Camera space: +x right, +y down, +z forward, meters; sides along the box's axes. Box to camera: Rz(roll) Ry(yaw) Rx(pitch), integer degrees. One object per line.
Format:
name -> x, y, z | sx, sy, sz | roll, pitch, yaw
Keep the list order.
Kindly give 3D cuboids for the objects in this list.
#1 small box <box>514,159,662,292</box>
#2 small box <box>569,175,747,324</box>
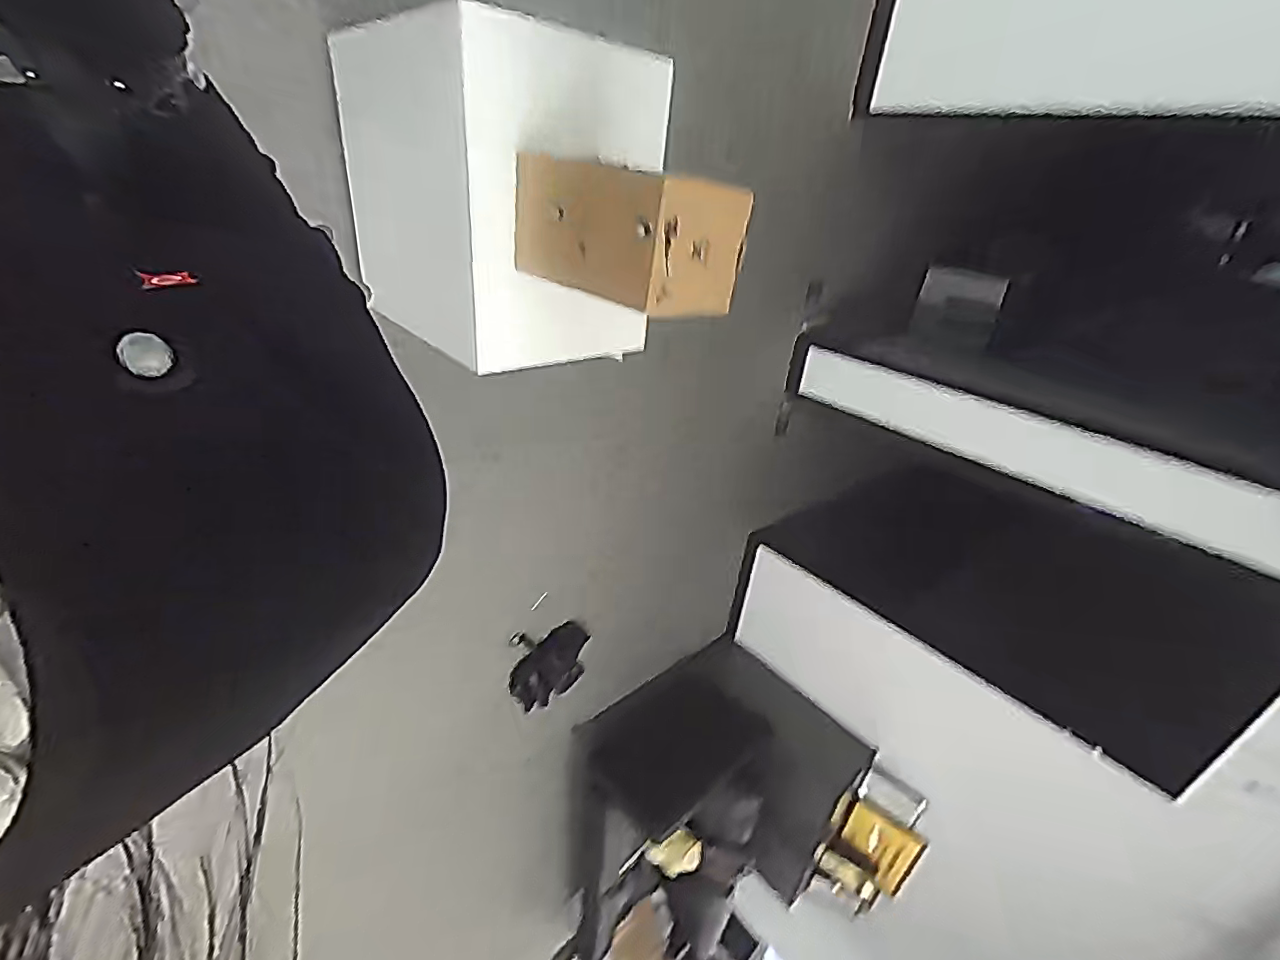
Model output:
small box -> -0.089, -0.406, 0.871 | 0.168, 0.176, 0.179 | -18, 127, -40
small box -> 0.021, -0.333, 0.777 | 0.179, 0.176, 0.168 | -18, 129, -38
